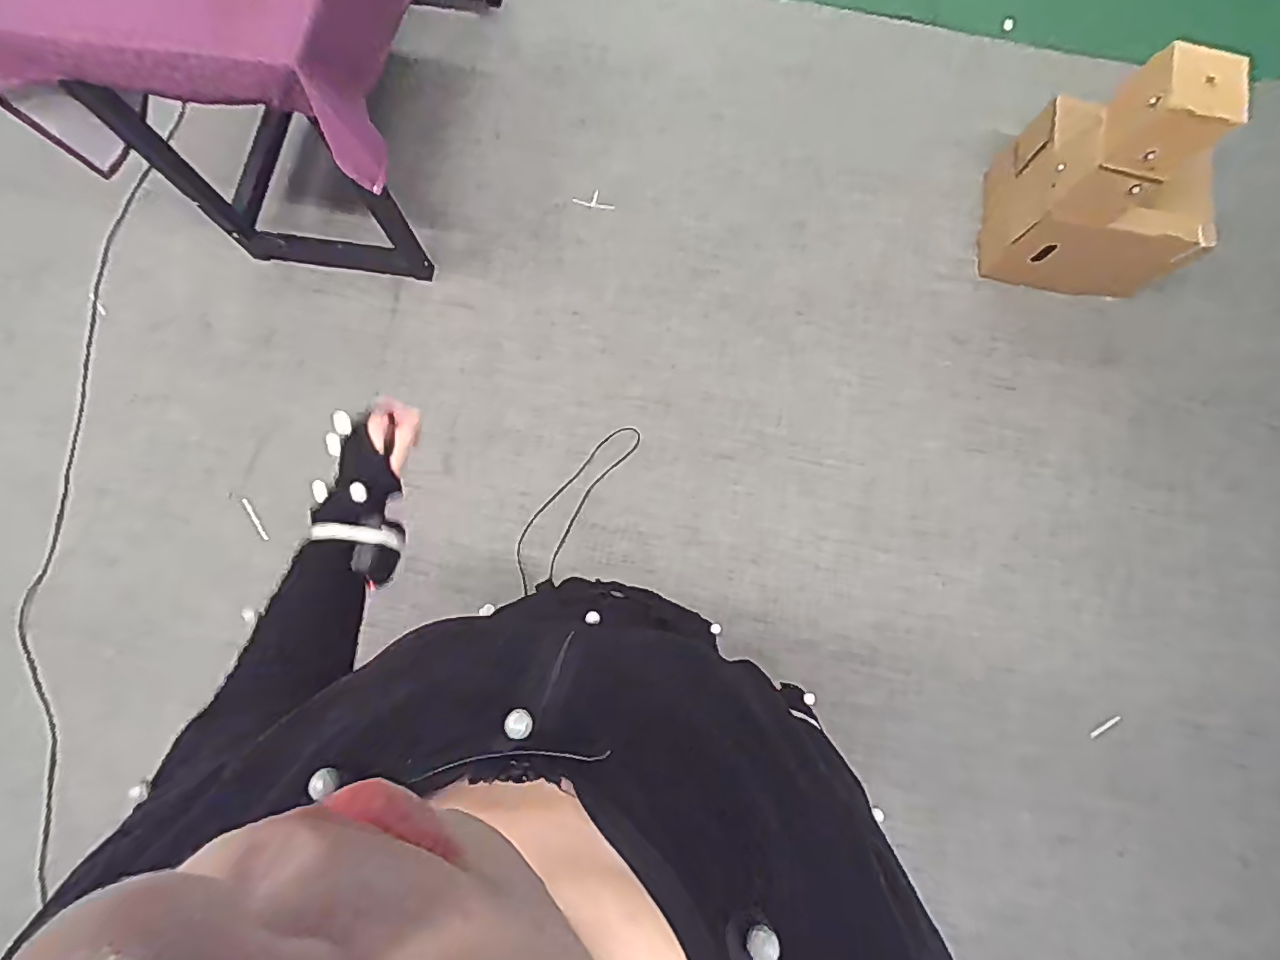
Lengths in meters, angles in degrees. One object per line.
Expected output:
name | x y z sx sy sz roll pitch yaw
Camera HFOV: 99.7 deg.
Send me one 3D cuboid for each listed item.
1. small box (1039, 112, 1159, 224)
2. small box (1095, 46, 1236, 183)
small box | 1.182 -0.795 1.395 0.179 0.176 0.168 13 77 1
small box | 1.190 -0.826 1.235 0.168 0.176 0.179 14 79 0
